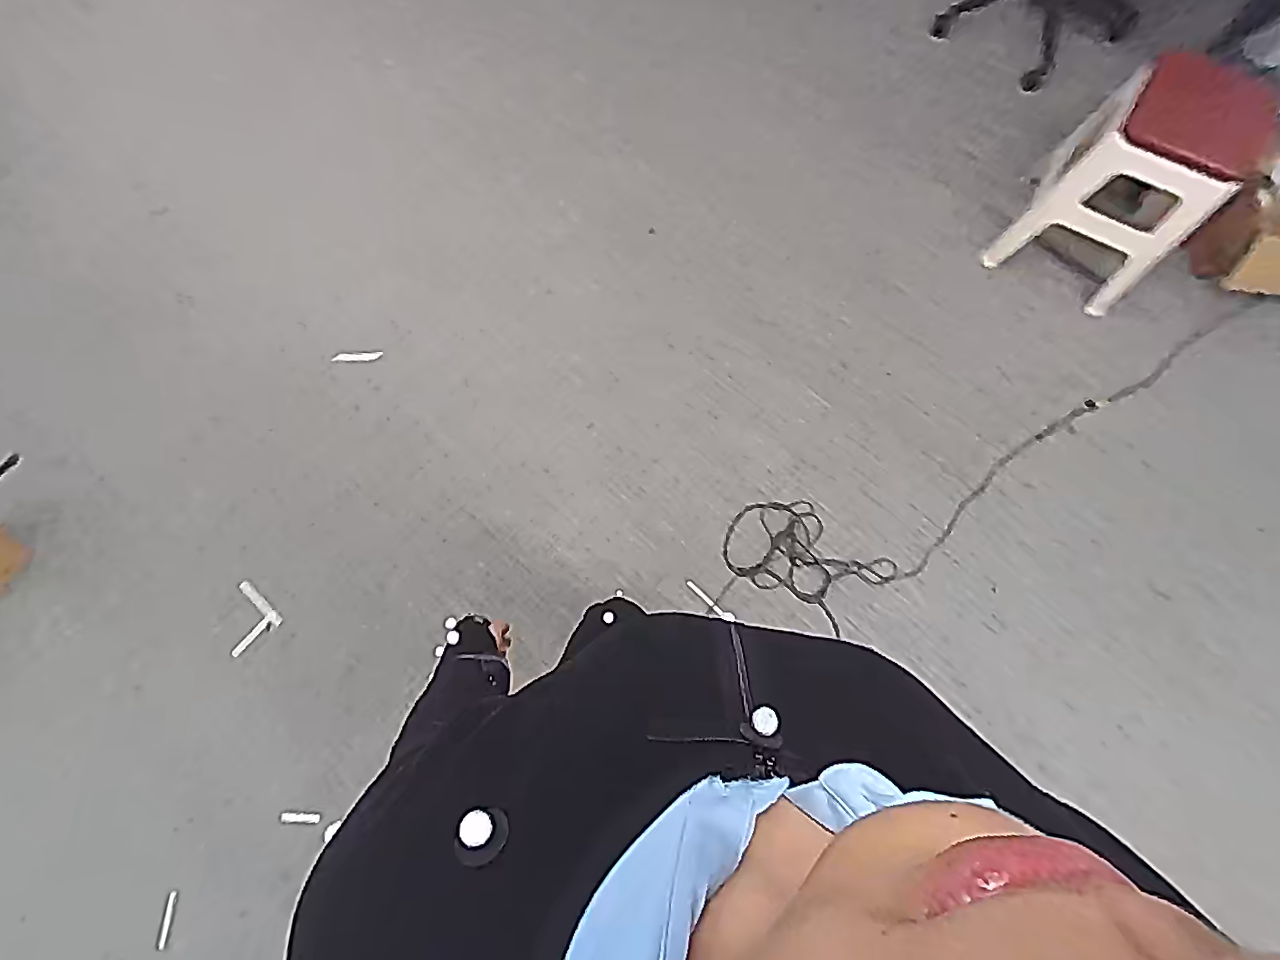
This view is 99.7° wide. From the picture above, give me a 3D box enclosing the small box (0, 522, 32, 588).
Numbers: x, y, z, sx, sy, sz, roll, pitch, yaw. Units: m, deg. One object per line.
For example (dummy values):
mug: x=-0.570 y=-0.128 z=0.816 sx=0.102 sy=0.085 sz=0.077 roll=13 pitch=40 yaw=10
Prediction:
small box: x=-1.928 y=0.213 z=1.539 sx=0.179 sy=0.176 sz=0.168 roll=37 pitch=81 yaw=10
